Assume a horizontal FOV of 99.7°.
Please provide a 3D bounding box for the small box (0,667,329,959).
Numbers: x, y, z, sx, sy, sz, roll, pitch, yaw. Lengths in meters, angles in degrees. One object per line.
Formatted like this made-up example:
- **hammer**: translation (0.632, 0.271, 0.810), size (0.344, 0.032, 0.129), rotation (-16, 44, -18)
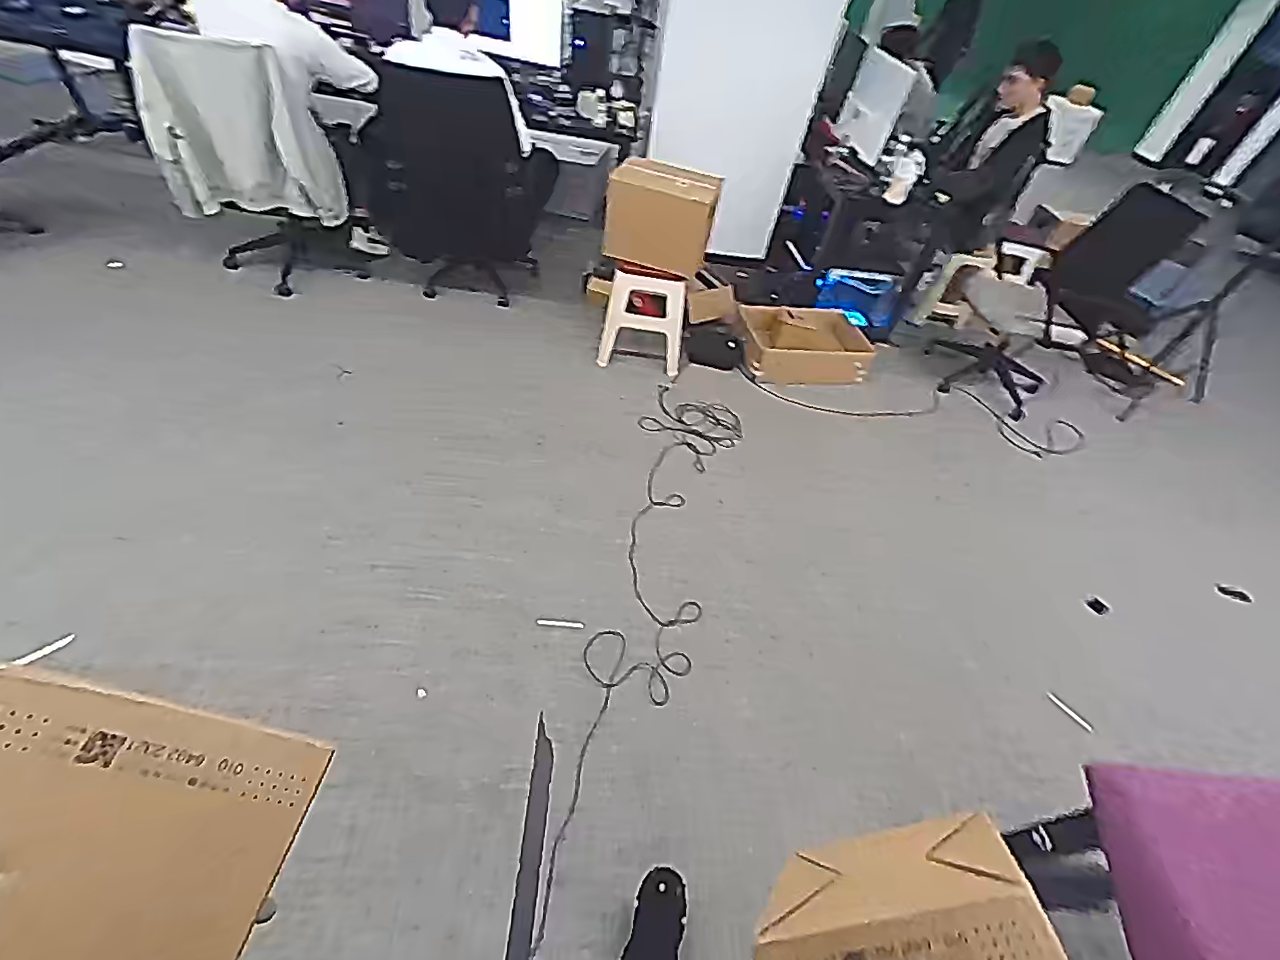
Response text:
- **small box**: translation (-0.314, 0.218, 0.319), size (0.168, 0.179, 0.176), rotation (31, 55, -25)
